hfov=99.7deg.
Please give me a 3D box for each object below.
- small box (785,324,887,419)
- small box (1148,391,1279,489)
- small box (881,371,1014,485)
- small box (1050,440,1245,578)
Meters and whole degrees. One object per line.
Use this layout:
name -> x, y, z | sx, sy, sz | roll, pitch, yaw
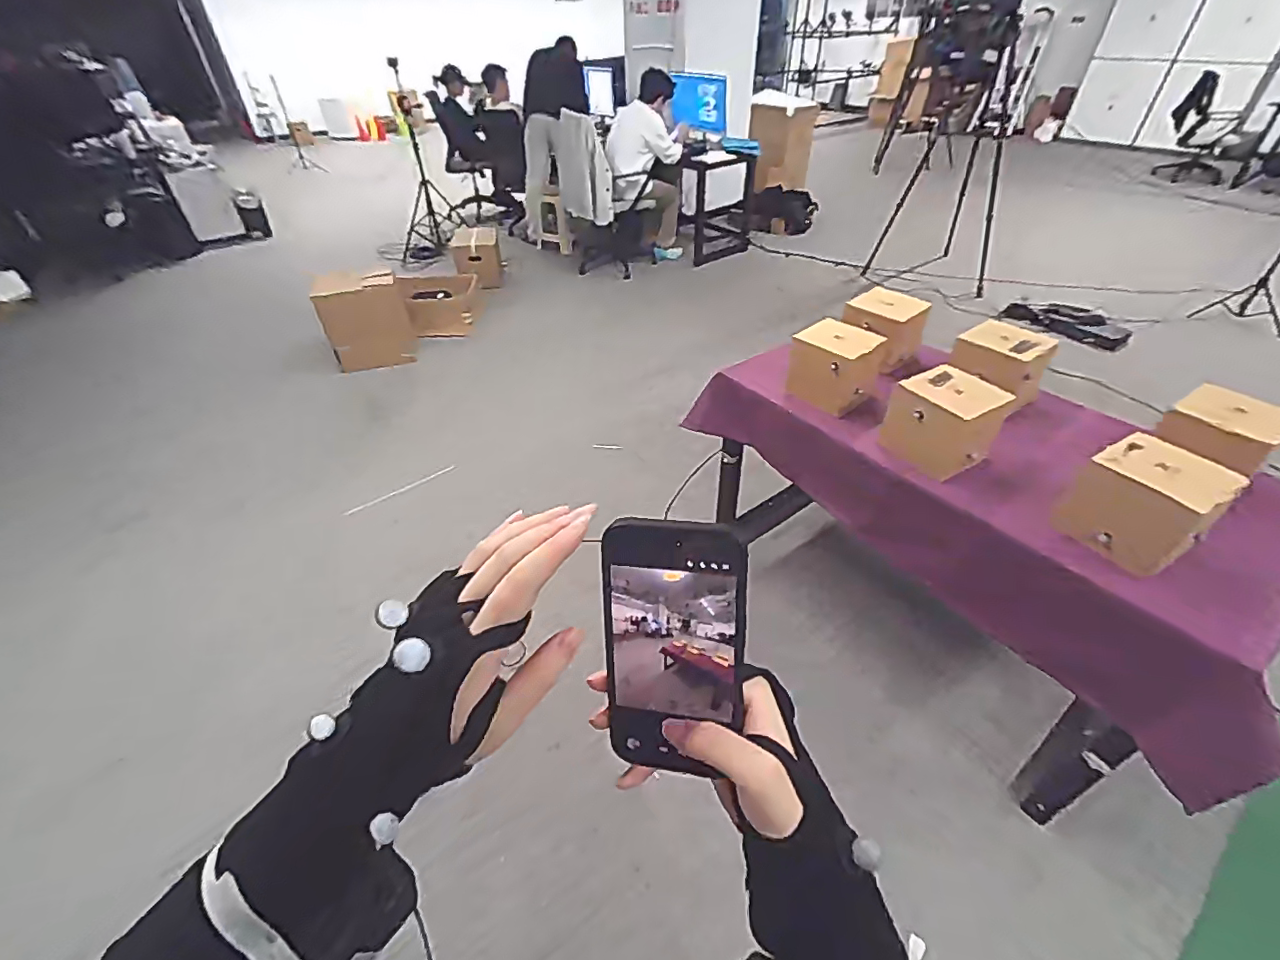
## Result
small box -> 0.506, -0.284, 1.421 | 0.168, 0.176, 0.179 | -31, 49, -31
small box -> 1.188, -0.057, 1.132 | 0.179, 0.176, 0.168 | -24, 44, -23
small box -> 0.680, -0.118, 1.219 | 0.168, 0.176, 0.179 | -21, 45, -22
small box -> 0.926, 0.058, 1.004 | 0.168, 0.176, 0.179 | -20, 44, -22
